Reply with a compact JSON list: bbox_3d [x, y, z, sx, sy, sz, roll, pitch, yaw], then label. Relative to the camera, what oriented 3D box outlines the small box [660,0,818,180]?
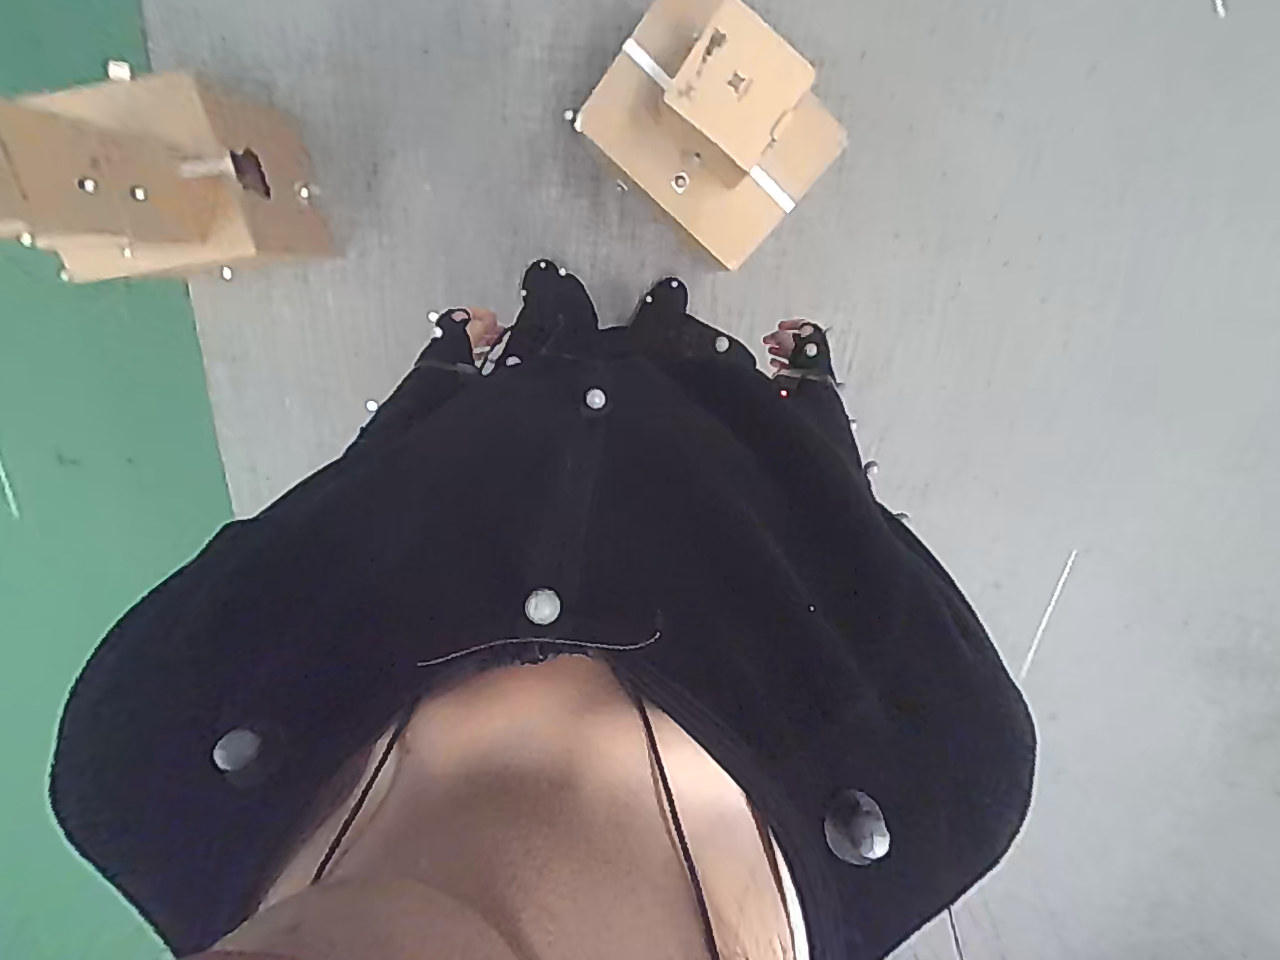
[{"bbox_3d":[0.150,-0.621,0.883,0.179,0.176,0.168,35,106,-13],"label":"small box"}]

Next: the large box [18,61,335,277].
[{"bbox_3d":[-0.966,-0.627,1.154,0.408,0.320,0.320,-6,110,4],"label":"large box"}]

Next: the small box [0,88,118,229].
[{"bbox_3d":[-0.936,-0.459,0.782,0.179,0.176,0.168,-1,112,0],"label":"small box"}]

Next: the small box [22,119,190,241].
[{"bbox_3d":[-0.938,-0.512,0.936,0.168,0.176,0.179,-2,112,1],"label":"small box"}]
